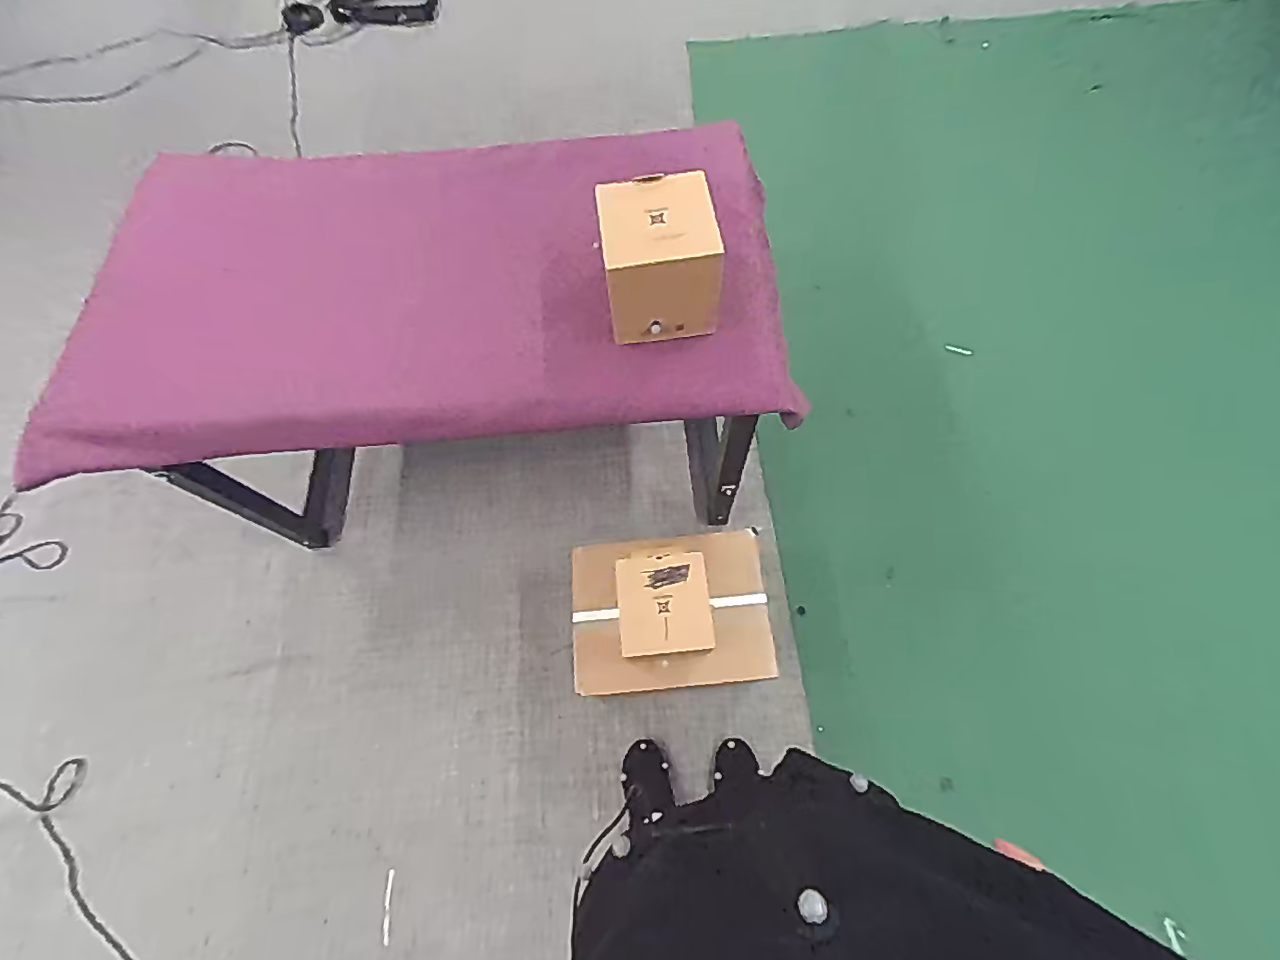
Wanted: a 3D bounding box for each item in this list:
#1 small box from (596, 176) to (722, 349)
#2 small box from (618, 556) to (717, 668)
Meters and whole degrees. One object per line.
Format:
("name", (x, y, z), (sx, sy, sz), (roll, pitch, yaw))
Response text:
("small box", (0.027, -0.332, 0.840), (0.168, 0.176, 0.179), (-8, 64, 1))
("small box", (0.047, 0.256, 1.031), (0.168, 0.176, 0.179), (-6, 68, 1))
